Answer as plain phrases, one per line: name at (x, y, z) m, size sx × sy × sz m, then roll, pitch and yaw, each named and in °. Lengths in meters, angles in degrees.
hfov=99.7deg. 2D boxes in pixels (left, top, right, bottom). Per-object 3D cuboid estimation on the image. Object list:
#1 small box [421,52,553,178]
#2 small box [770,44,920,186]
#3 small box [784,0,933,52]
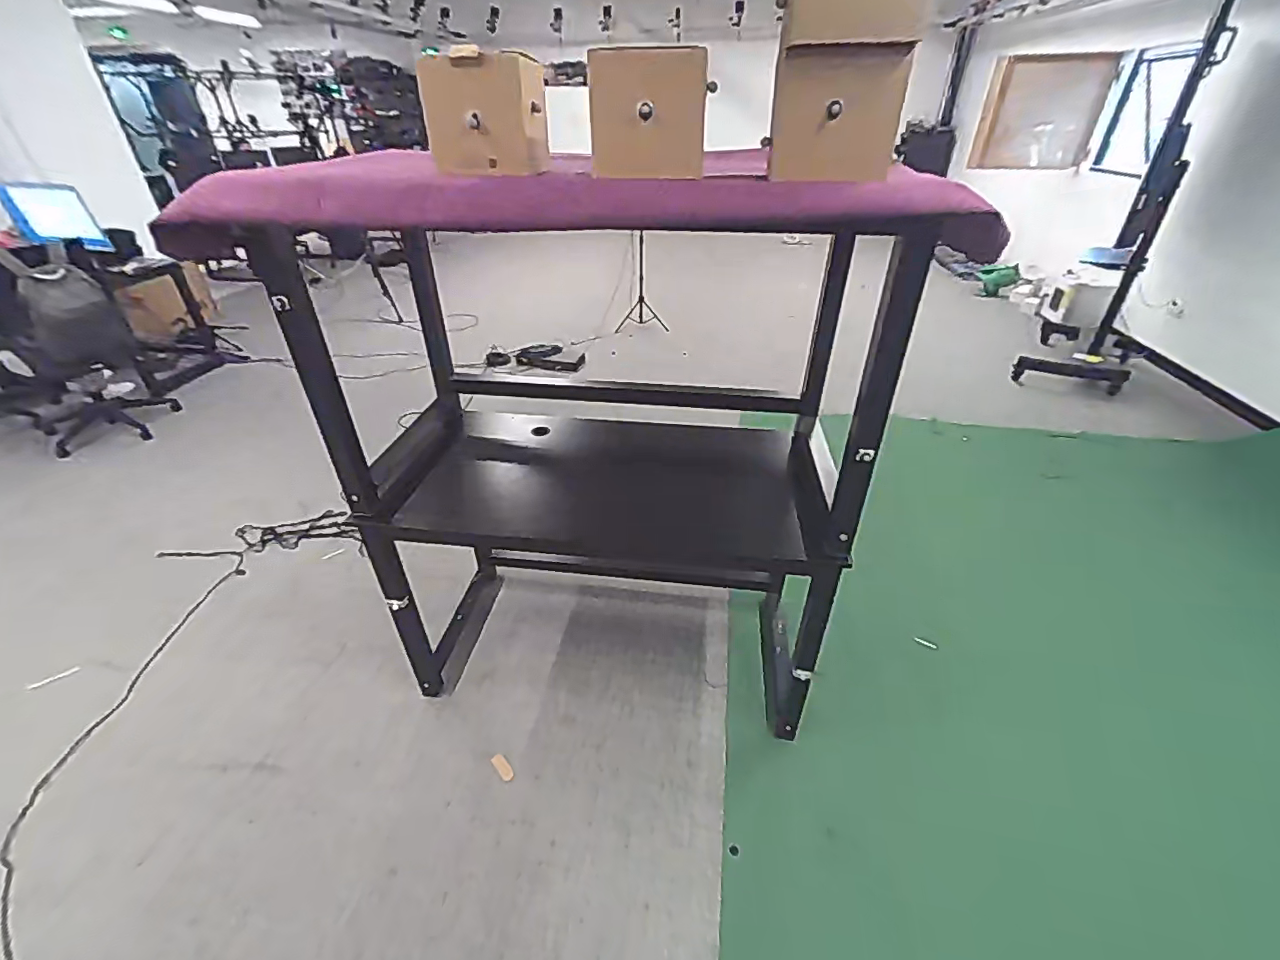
small box at (-0.249, -0.624, 0.934) m, size 0.168 × 0.176 × 0.179 m, roll 3°, pitch 34°, yaw 3°
small box at (0.304, -0.564, 0.843) m, size 0.179 × 0.176 × 0.168 m, roll 4°, pitch 34°, yaw 8°
small box at (0.301, -0.688, 0.734) m, size 0.179 × 0.176 × 0.168 m, roll 4°, pitch 34°, yaw 7°
